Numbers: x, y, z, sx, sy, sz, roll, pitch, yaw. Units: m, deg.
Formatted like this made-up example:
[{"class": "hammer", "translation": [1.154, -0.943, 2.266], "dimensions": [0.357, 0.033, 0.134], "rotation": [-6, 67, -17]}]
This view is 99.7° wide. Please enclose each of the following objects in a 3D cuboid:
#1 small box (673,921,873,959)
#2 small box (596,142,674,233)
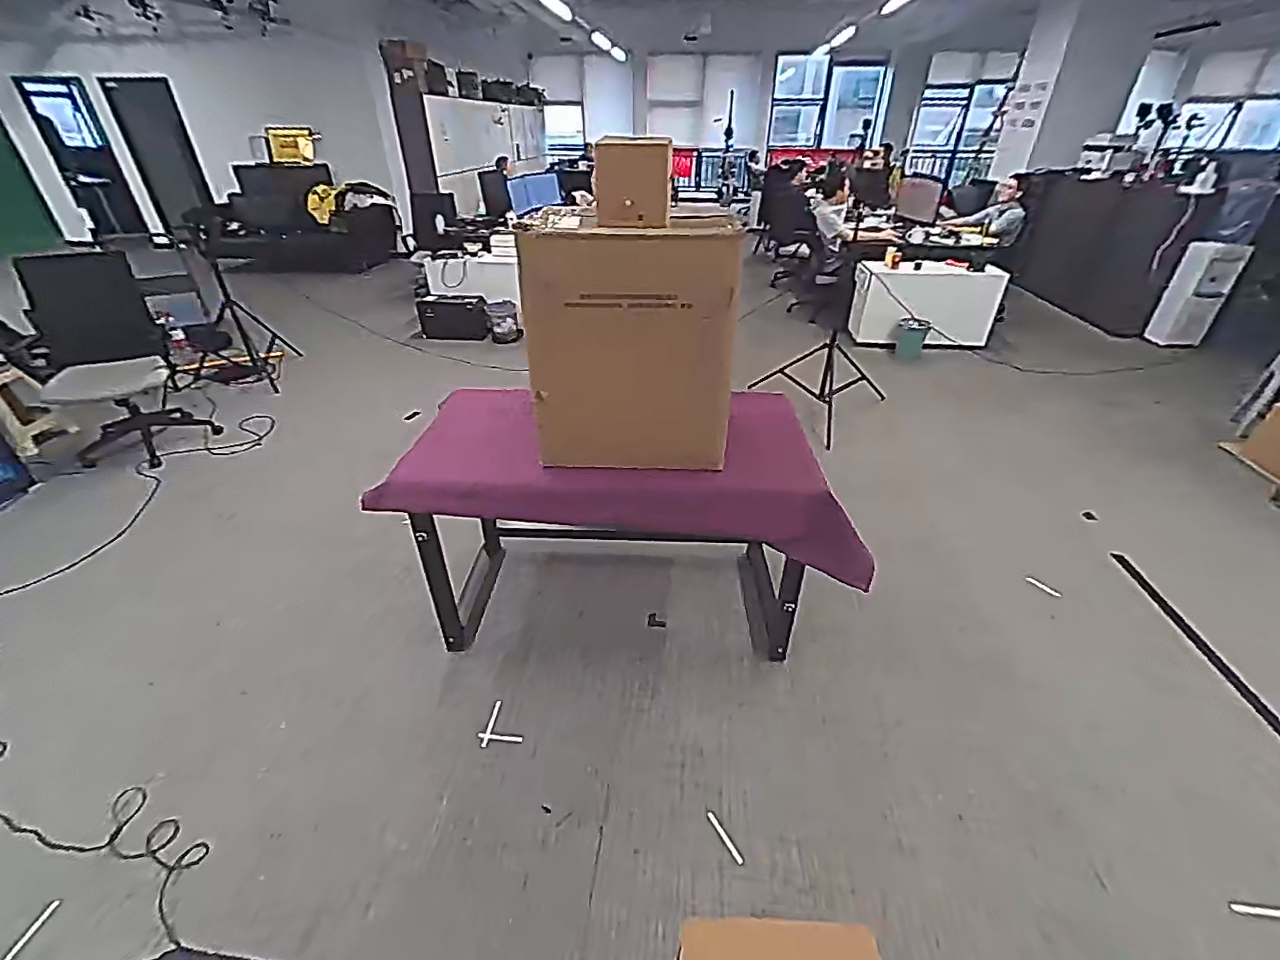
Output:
[{"class": "small box", "translation": [0.115, 0.498, 0.426], "dimensions": [0.179, 0.176, 0.168], "rotation": [-5, -4, 10]}, {"class": "small box", "translation": [-0.008, -0.692, 1.273], "dimensions": [0.168, 0.176, 0.179], "rotation": [3, 36, 5]}]
